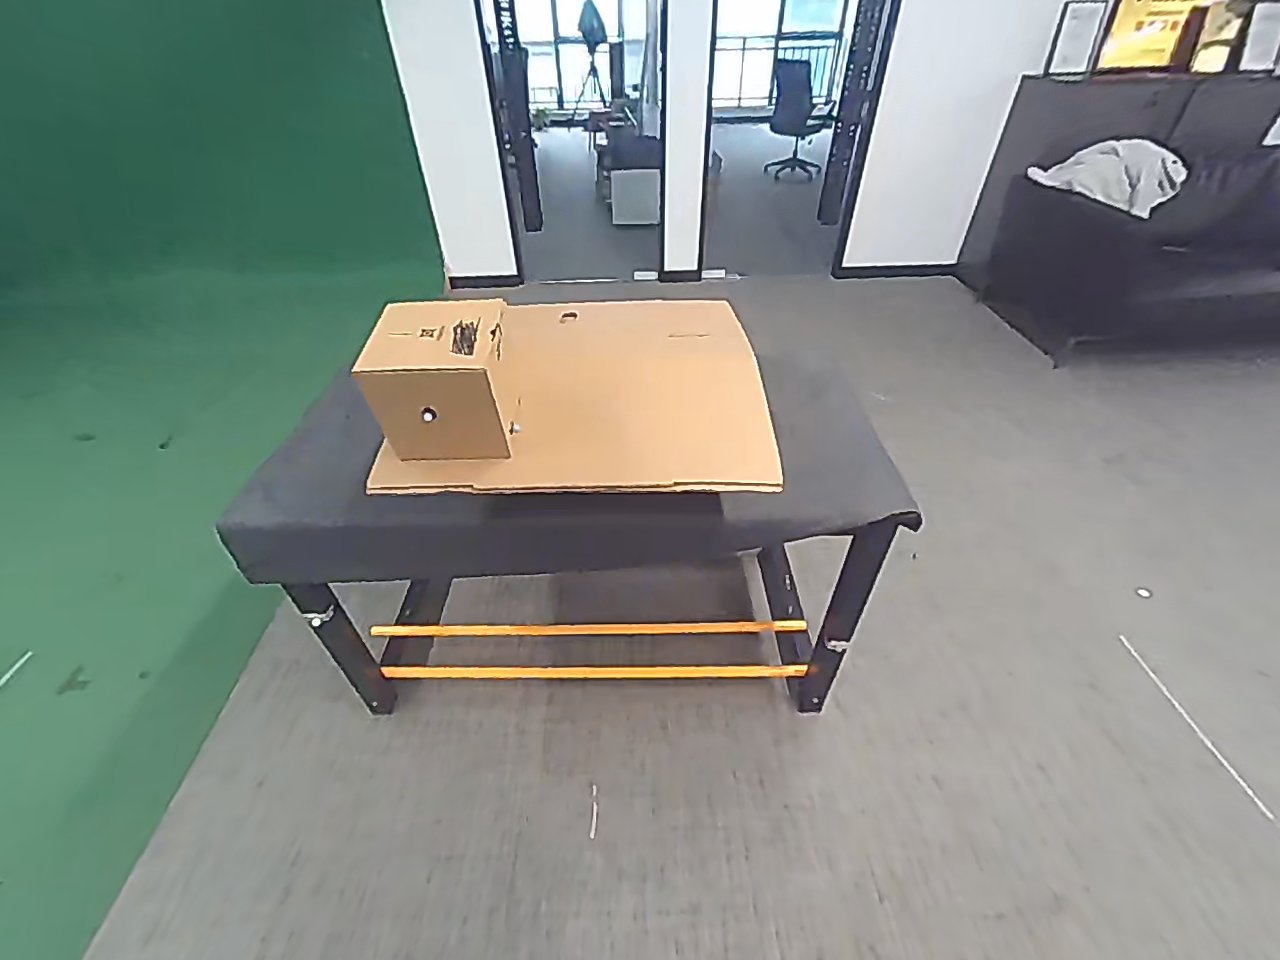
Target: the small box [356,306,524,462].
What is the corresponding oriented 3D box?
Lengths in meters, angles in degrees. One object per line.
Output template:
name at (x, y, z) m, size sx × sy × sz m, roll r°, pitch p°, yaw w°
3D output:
small box at (-0.280, -0.140, 0.808) m, size 0.179 × 0.176 × 0.168 m, roll -2°, pitch 49°, yaw 1°
